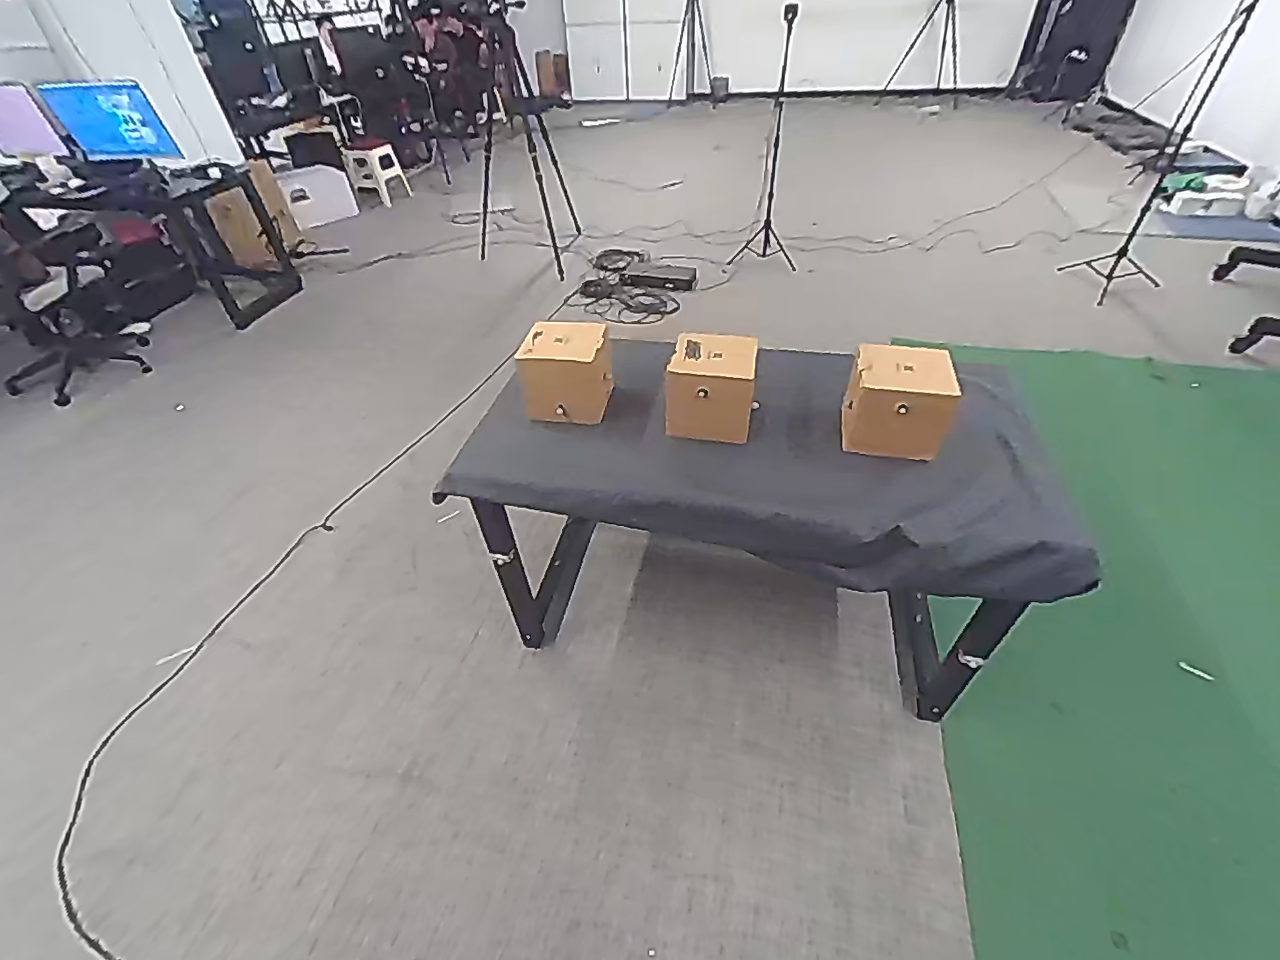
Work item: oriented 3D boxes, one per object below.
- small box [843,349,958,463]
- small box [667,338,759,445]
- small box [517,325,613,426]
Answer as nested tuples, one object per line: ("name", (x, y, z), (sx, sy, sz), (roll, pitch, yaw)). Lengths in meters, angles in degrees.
("small box", (0.527, -0.153, 1.123), (0.179, 0.176, 0.168), (8, 45, 11))
("small box", (0.160, -0.194, 1.188), (0.179, 0.176, 0.168), (7, 44, 10))
("small box", (-0.164, -0.241, 1.258), (0.179, 0.176, 0.168), (5, 43, 8))
